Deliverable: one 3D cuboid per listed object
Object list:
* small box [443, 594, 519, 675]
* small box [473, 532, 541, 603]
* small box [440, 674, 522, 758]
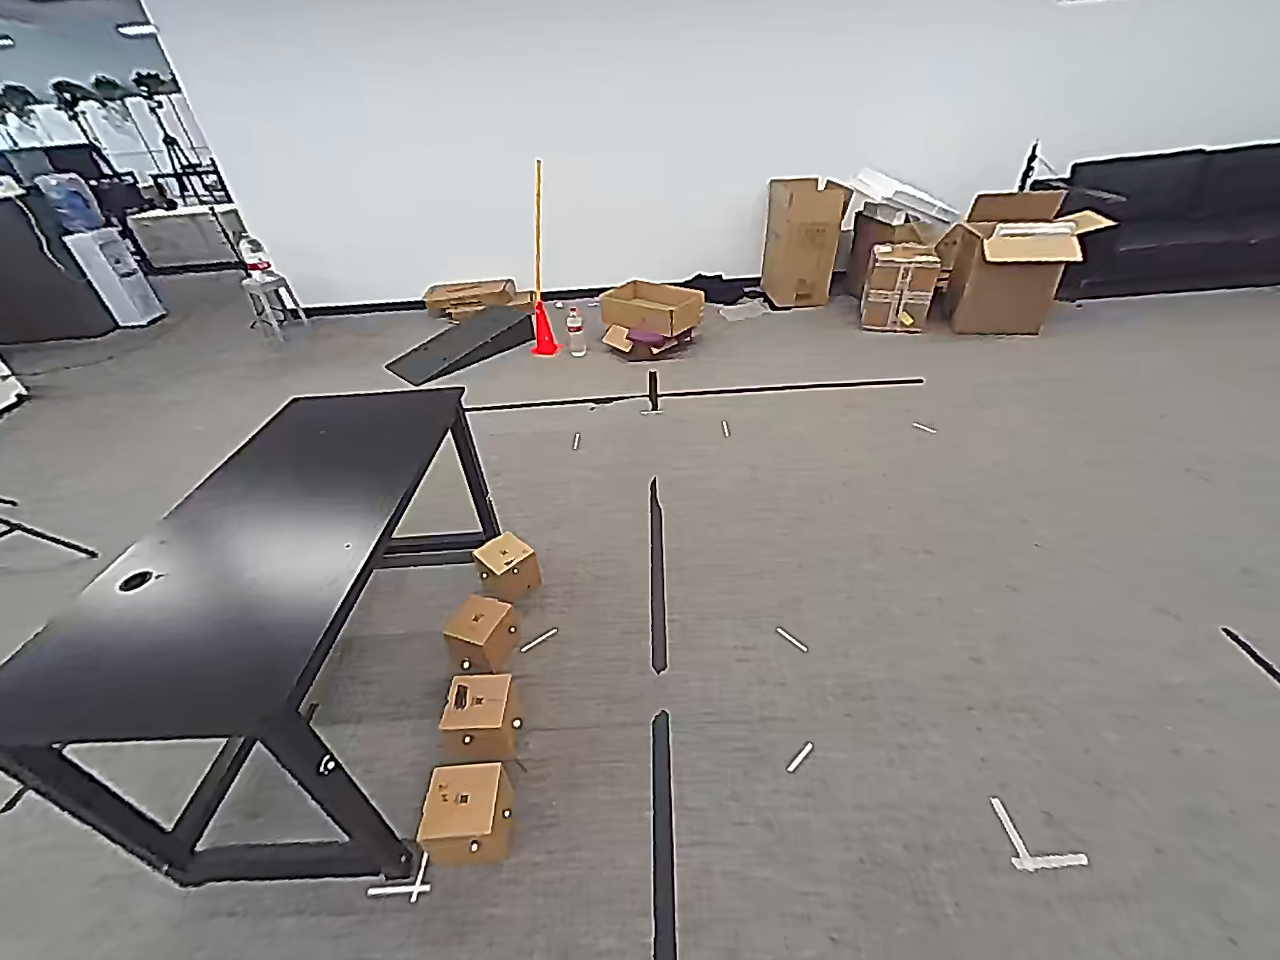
[{"bbox_3d":[-0.523,0.518,1.813,0.168,0.176,0.179,9,40,19],"label":"small box"},{"bbox_3d":[-0.501,0.334,2.052,0.179,0.176,0.168,27,47,35],"label":"small box"},{"bbox_3d":[-0.455,0.689,1.574,0.179,0.176,0.168,-3,37,0],"label":"small box"}]
